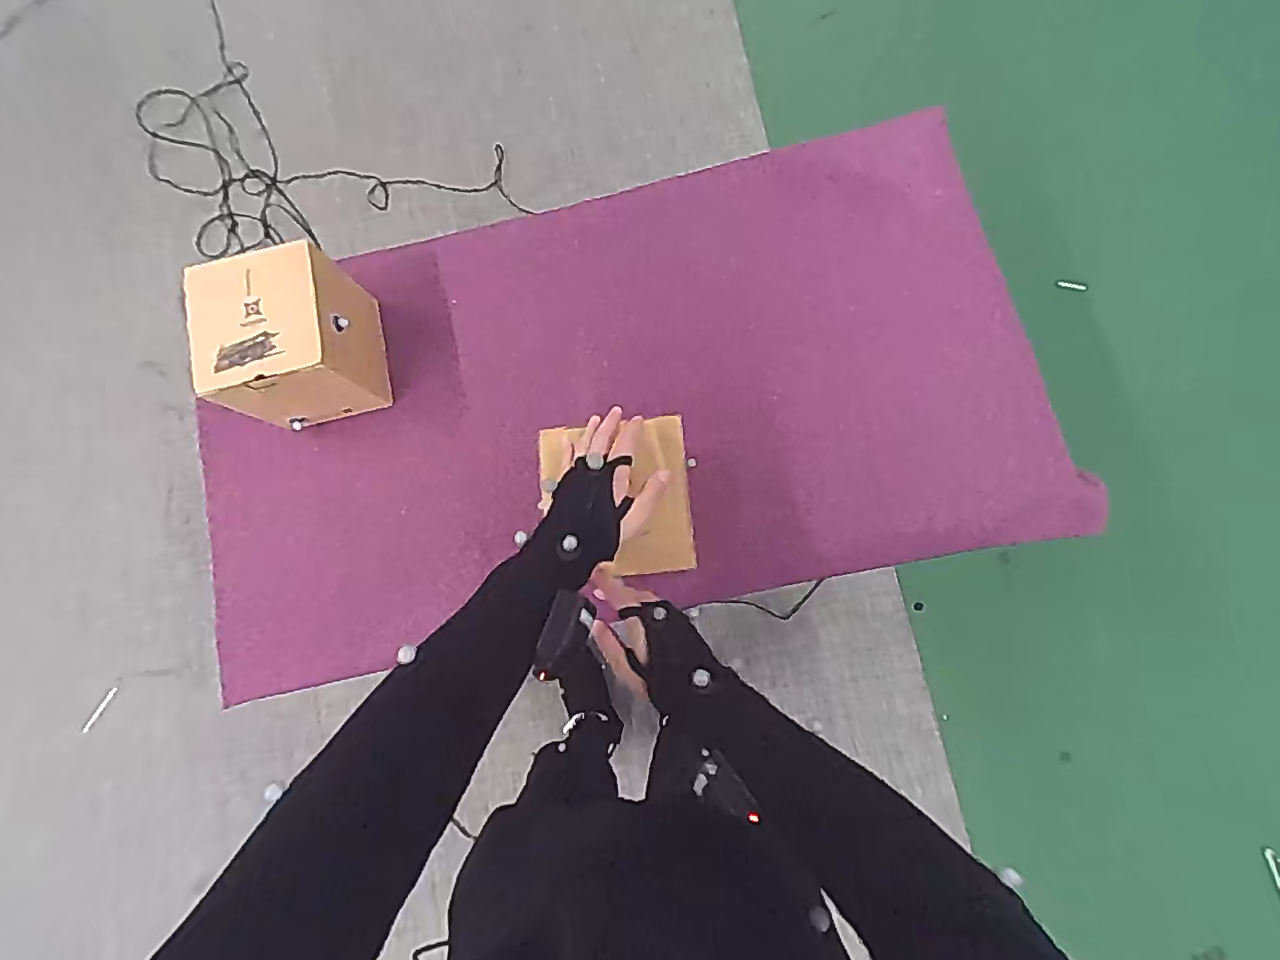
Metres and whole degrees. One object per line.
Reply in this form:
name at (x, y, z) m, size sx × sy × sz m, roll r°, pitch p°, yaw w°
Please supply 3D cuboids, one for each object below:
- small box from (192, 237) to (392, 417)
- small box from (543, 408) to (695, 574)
small box at (-0.469, -0.197, 0.752) m, size 0.168 × 0.176 × 0.179 m, roll -13°, pitch 80°, yaw 1°
small box at (-0.022, 0.023, 0.682) m, size 0.168 × 0.176 × 0.179 m, roll -5°, pitch 79°, yaw 3°
